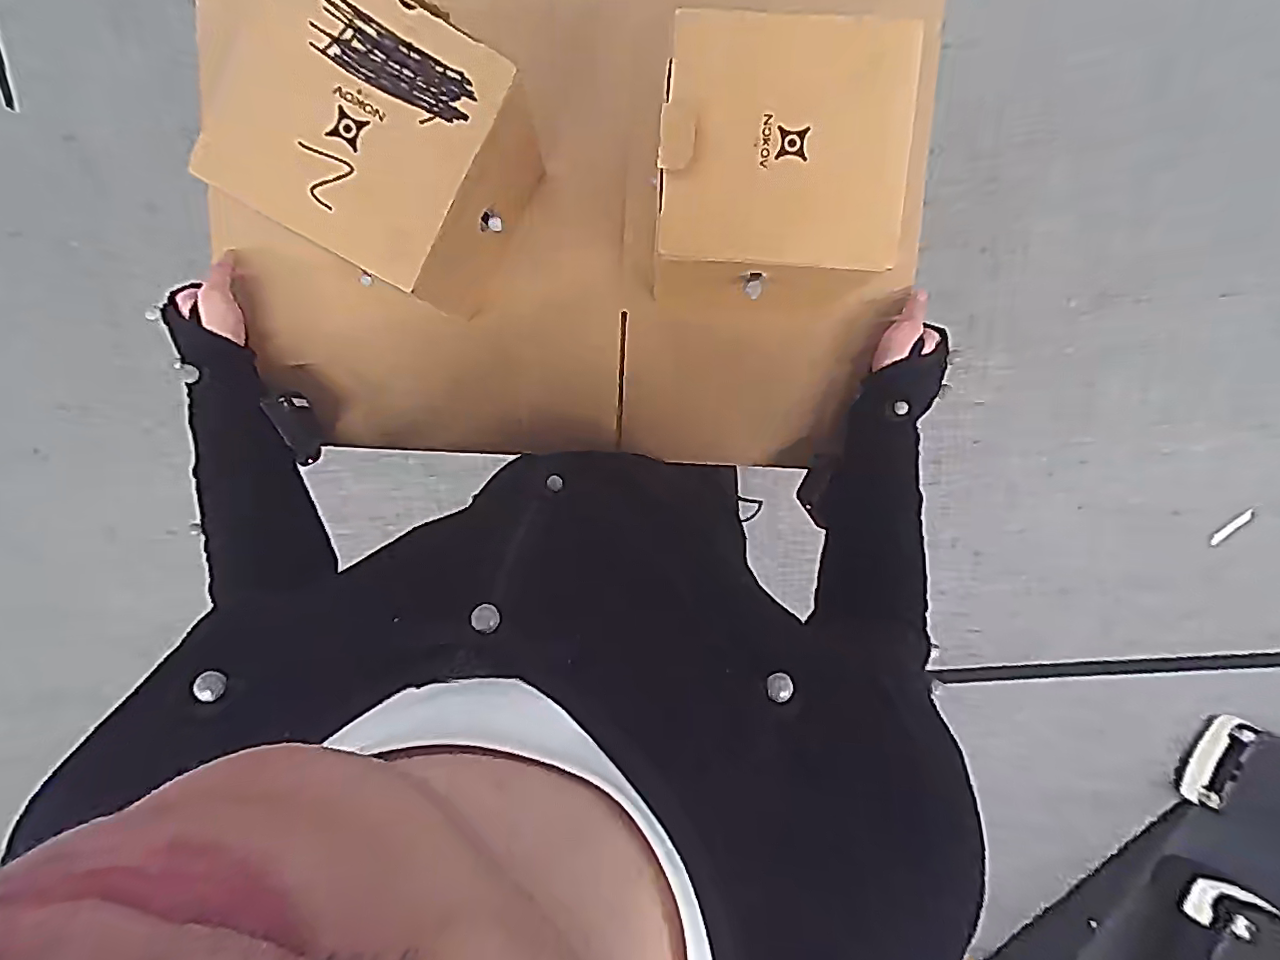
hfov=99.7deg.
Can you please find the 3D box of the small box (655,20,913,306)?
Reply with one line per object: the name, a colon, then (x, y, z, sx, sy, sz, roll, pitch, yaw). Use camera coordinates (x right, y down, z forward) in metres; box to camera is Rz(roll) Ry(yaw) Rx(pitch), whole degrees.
small box: (0.106, -0.254, 0.477, 0.179, 0.176, 0.168, 4, 98, 2)
